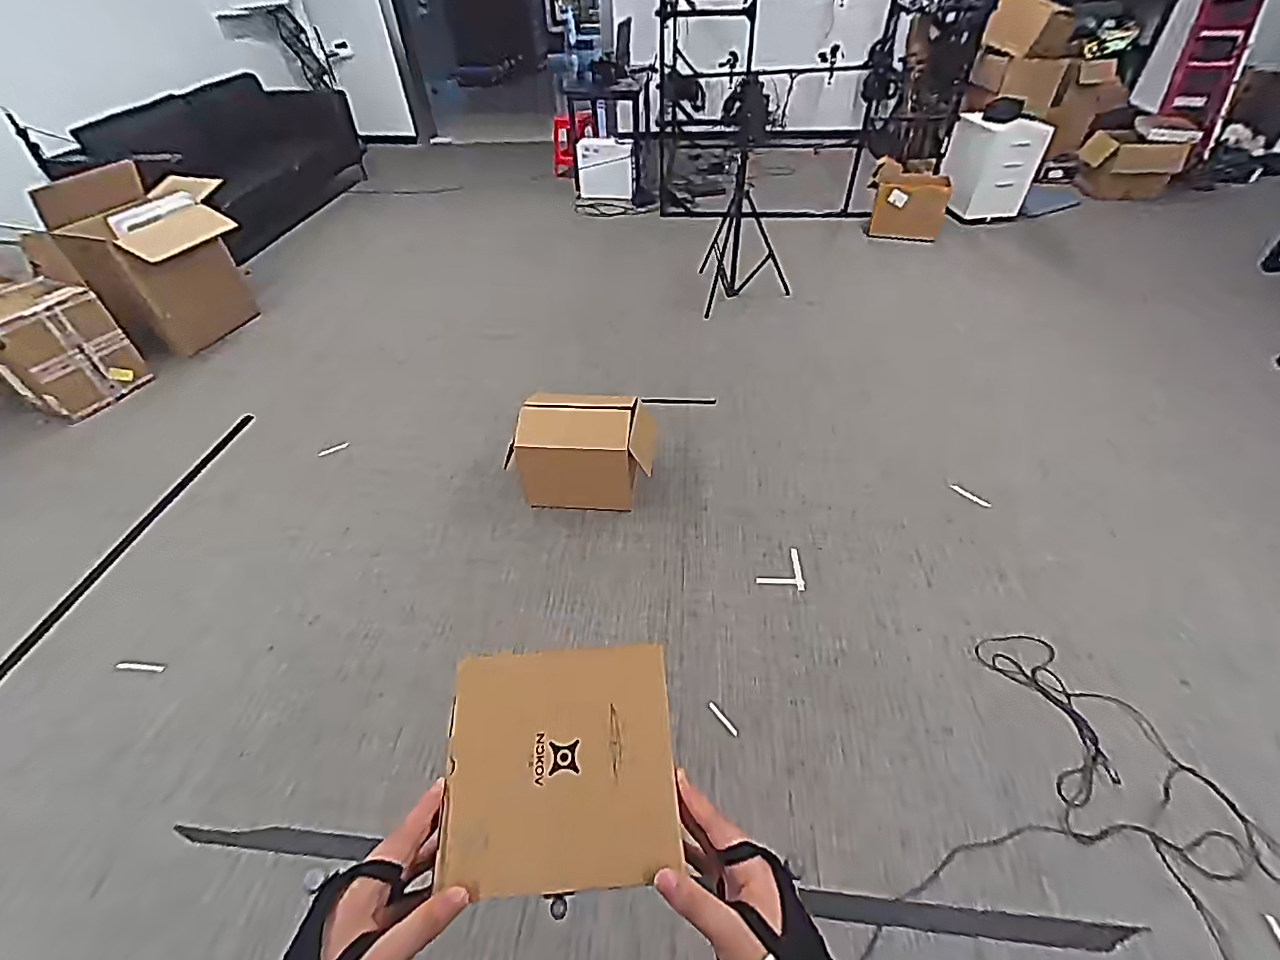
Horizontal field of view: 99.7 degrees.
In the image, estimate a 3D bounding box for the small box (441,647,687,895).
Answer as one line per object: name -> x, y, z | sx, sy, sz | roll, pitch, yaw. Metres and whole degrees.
small box -> -0.057, 0.264, 0.487 | 0.179, 0.176, 0.168 | -4, 54, -3
